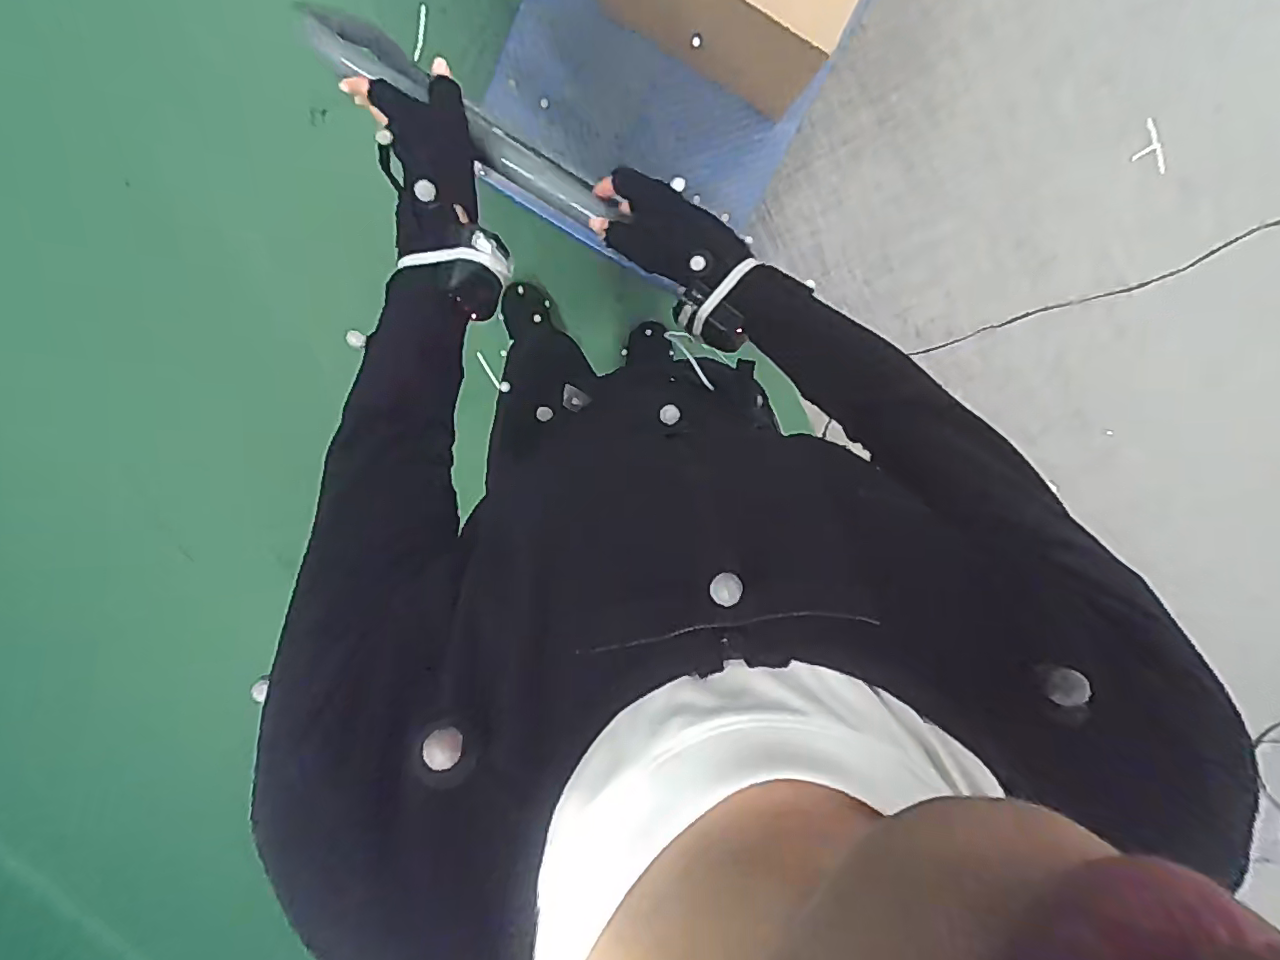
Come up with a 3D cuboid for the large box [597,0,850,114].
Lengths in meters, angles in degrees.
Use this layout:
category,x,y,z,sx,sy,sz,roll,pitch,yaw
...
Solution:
category,x,y,z,sx,sy,sz,roll,pitch,yaw
large box,0.162,-0.888,0.871,0.408,0.320,0.320,27,105,-8
